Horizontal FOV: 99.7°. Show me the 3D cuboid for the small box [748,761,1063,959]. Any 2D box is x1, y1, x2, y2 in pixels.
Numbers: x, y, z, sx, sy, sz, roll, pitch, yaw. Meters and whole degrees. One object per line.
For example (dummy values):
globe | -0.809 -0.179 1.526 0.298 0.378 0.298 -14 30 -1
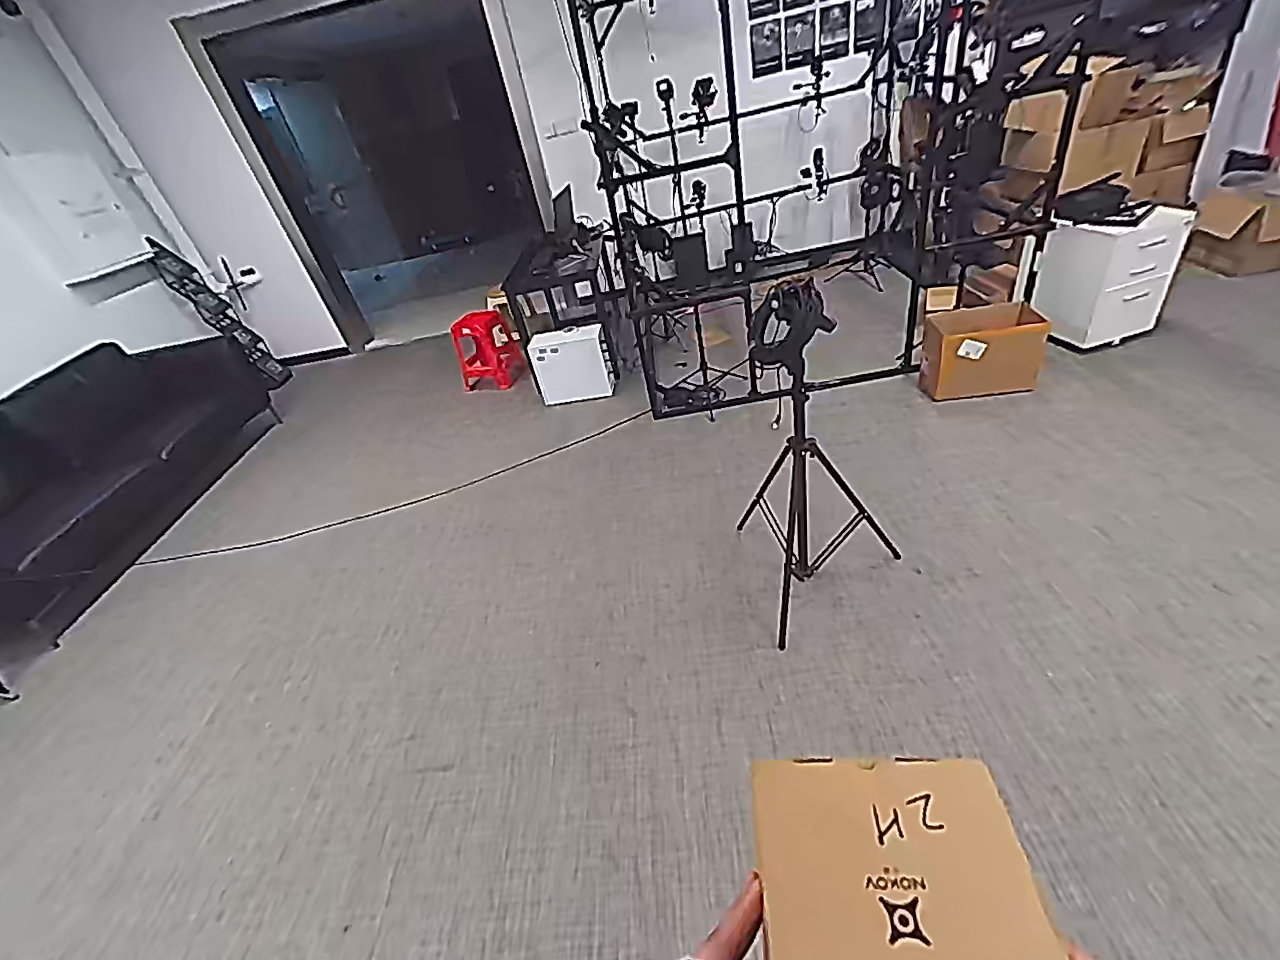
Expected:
small box | 0.168 0.322 0.376 0.168 0.176 0.179 -4 38 7
